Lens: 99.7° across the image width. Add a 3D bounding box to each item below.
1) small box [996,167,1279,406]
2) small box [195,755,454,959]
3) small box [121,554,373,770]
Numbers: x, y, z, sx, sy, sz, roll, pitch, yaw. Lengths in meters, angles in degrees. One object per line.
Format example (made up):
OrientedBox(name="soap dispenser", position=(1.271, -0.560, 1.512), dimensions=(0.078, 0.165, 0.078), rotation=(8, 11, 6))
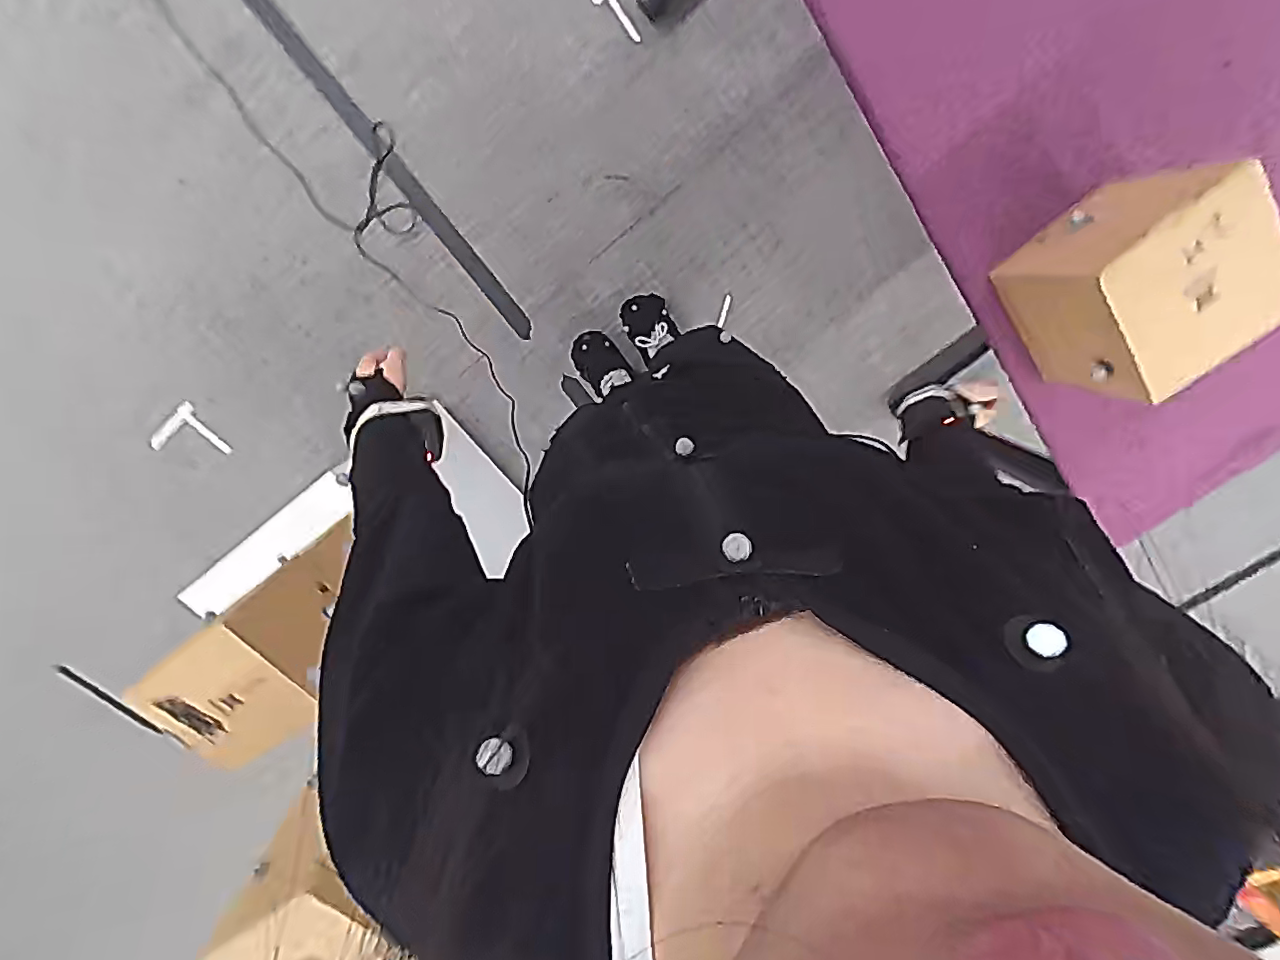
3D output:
OrientedBox(name="small box", position=(0.565, -0.216, 0.621), dimensions=(0.168, 0.176, 0.179), rotation=(-38, 107, 11))
OrientedBox(name="small box", position=(-0.355, 0.479, 0.649), dimensions=(0.179, 0.176, 0.168), rotation=(-37, 109, 11))
OrientedBox(name="small box", position=(-0.500, 0.233, 0.721), dimensions=(0.179, 0.176, 0.168), rotation=(-34, 109, 9))
